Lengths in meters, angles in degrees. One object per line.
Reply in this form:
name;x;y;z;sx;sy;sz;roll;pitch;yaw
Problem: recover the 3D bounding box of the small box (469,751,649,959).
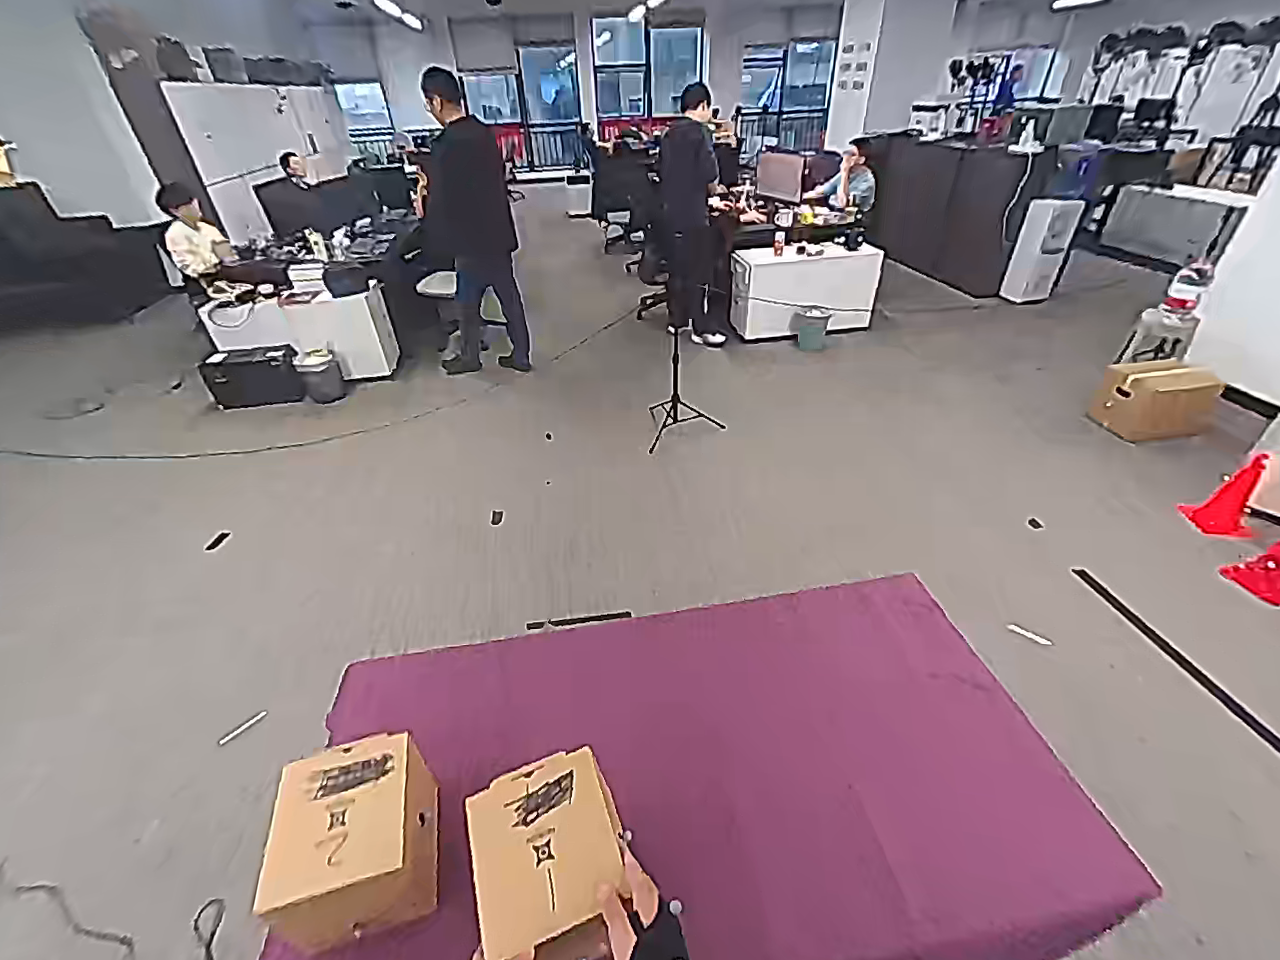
small box;-0.099;0.481;0.669;0.168;0.176;0.179;-19;42;-10
